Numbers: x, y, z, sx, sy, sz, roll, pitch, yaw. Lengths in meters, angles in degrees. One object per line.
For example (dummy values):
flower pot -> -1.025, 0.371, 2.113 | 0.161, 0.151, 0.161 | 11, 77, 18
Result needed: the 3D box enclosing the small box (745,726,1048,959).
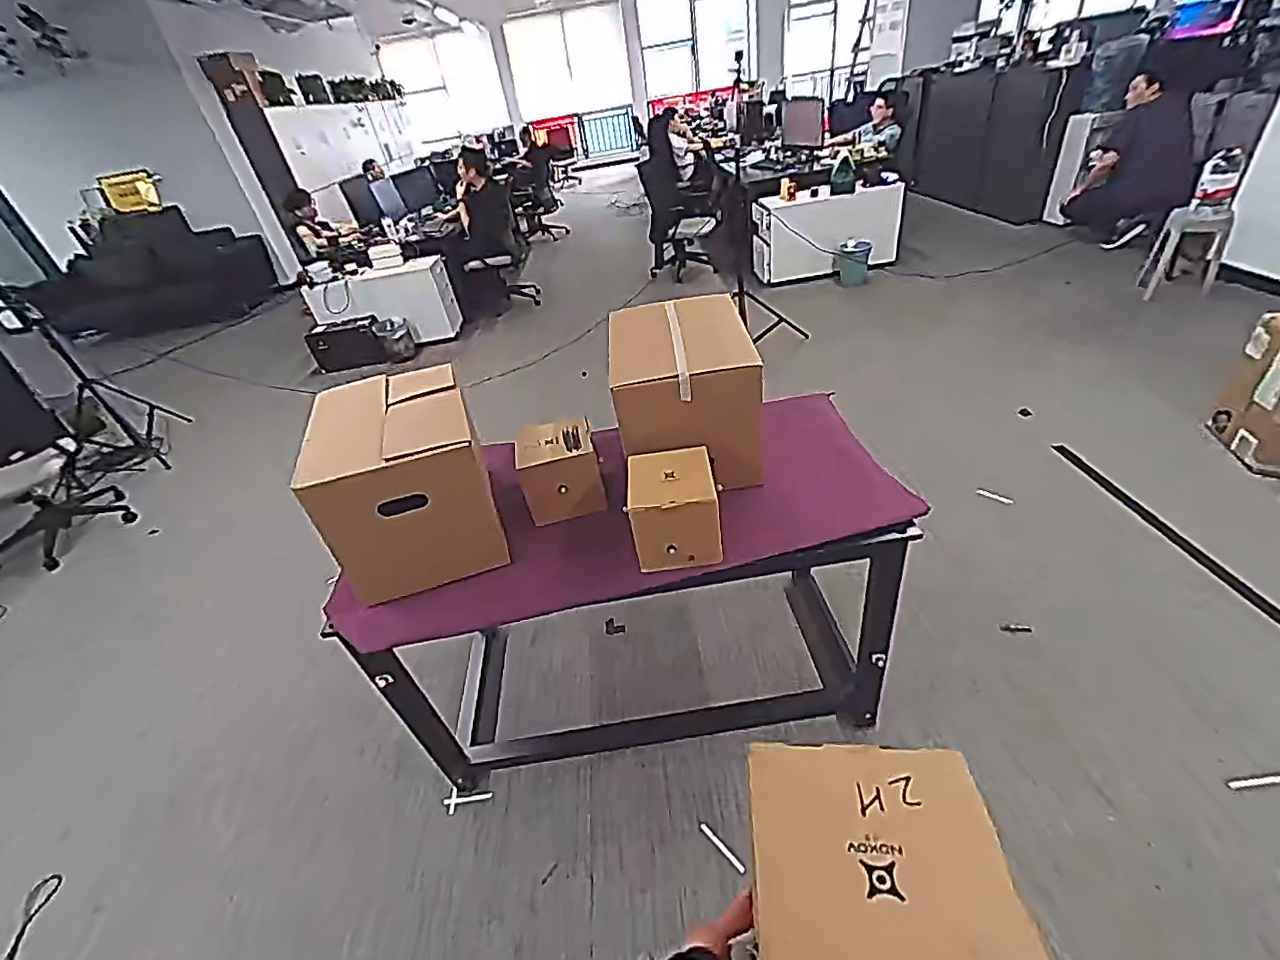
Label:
small box -> 0.166, 0.315, 0.404 | 0.168, 0.176, 0.179 | -1, 31, 9
